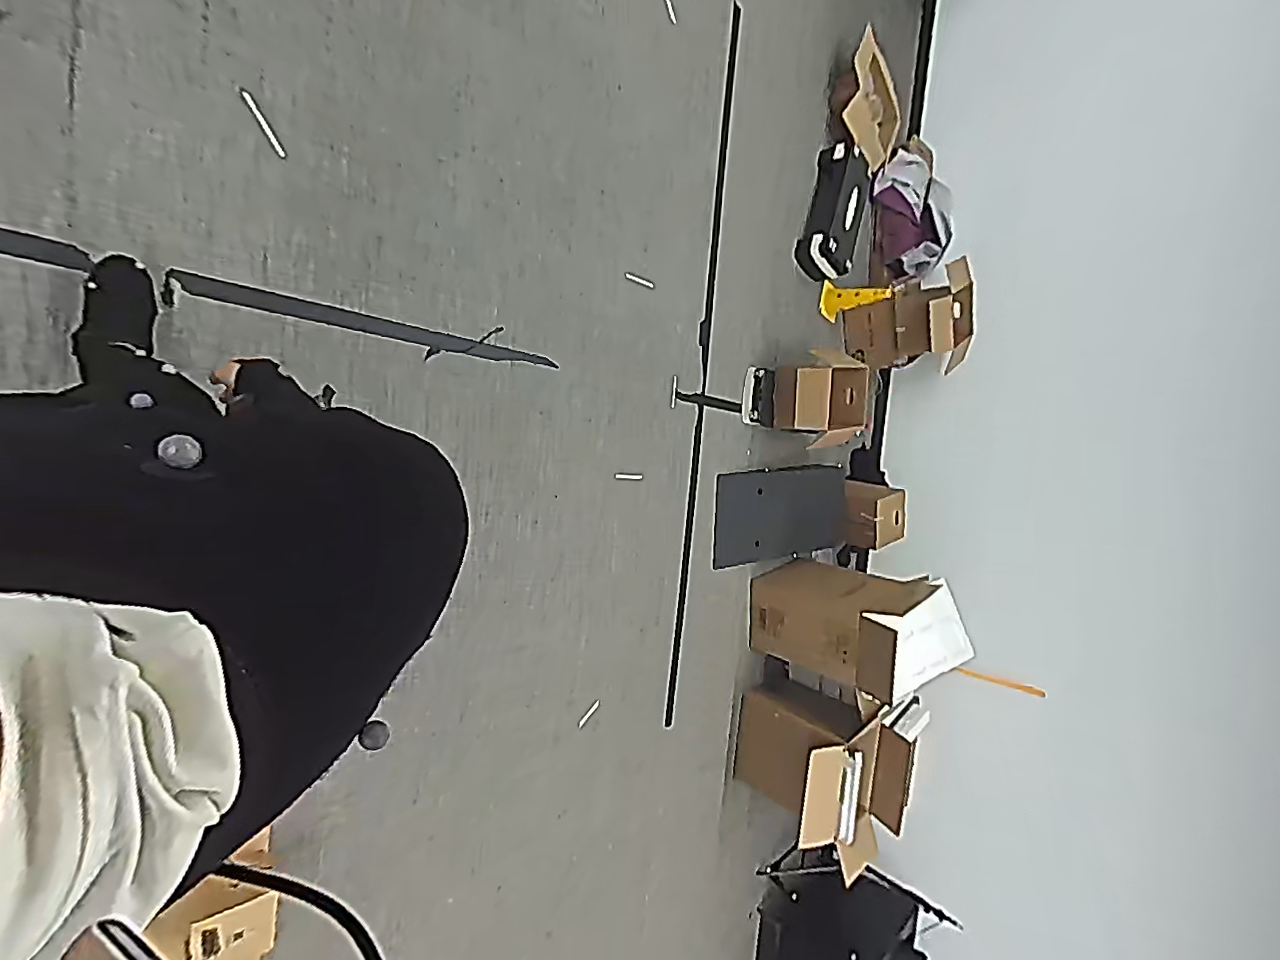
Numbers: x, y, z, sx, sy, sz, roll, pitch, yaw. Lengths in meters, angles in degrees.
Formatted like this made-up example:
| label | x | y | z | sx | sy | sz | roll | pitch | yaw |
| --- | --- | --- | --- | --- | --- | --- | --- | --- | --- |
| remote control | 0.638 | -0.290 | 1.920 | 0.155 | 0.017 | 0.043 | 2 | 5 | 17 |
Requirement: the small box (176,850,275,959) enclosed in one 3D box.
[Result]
| label | x | y | z | sx | sy | sz | roll | pitch | yaw |
| --- | --- | --- | --- | --- | --- | --- | --- | --- | --- |
| small box | -1.047 | 1.088 | 1.361 | 0.179 | 0.176 | 0.168 | 3 | 94 | -46 |
